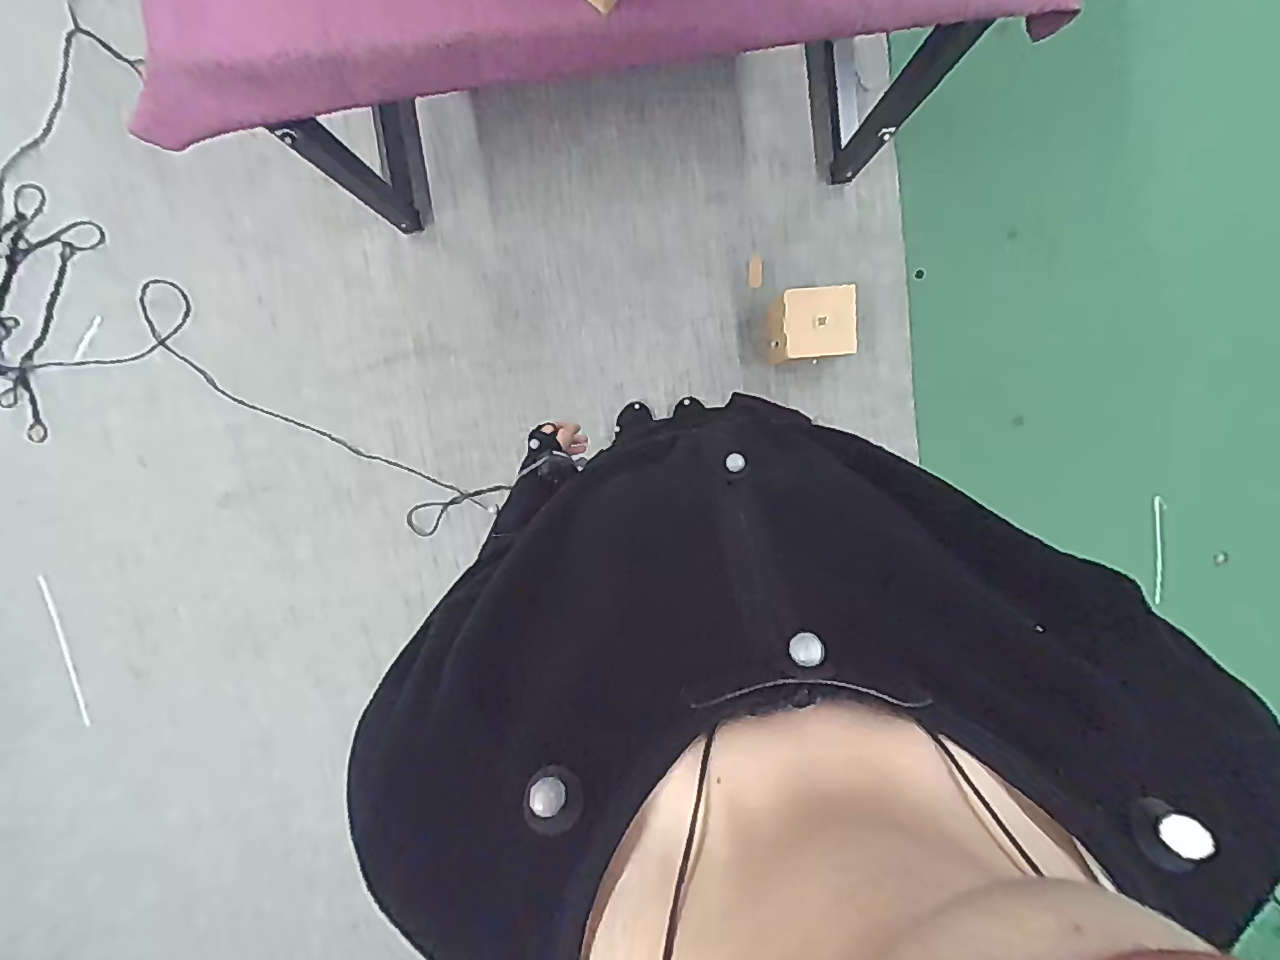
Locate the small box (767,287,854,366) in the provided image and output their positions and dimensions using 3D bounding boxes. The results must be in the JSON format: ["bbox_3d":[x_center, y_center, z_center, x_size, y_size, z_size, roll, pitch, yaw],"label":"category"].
[{"bbox_3d":[0.428,-0.386,1.384,0.179,0.176,0.168,-4,97,0],"label":"small box"}]
